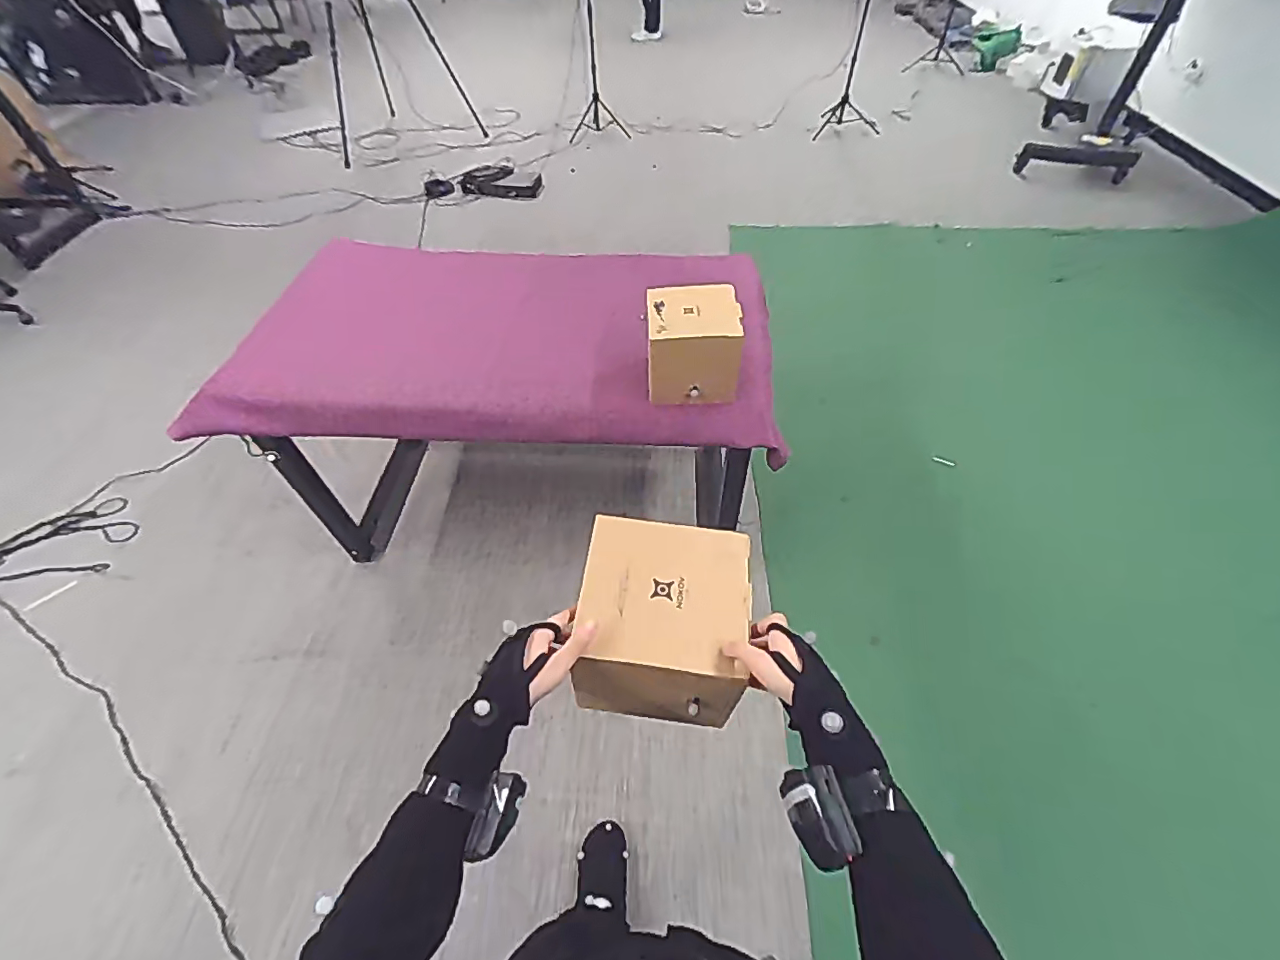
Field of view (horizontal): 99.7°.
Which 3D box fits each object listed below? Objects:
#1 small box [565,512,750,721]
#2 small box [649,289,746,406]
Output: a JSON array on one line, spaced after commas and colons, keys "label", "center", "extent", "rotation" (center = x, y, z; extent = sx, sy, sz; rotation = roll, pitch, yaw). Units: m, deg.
[{"label": "small box", "center": [0.022, 0.160, 0.616], "extent": [0.179, 0.176, 0.168], "rotation": [7, 50, 3]}, {"label": "small box", "center": [0.107, -0.264, 1.088], "extent": [0.179, 0.176, 0.168], "rotation": [-1, 51, 1]}]
